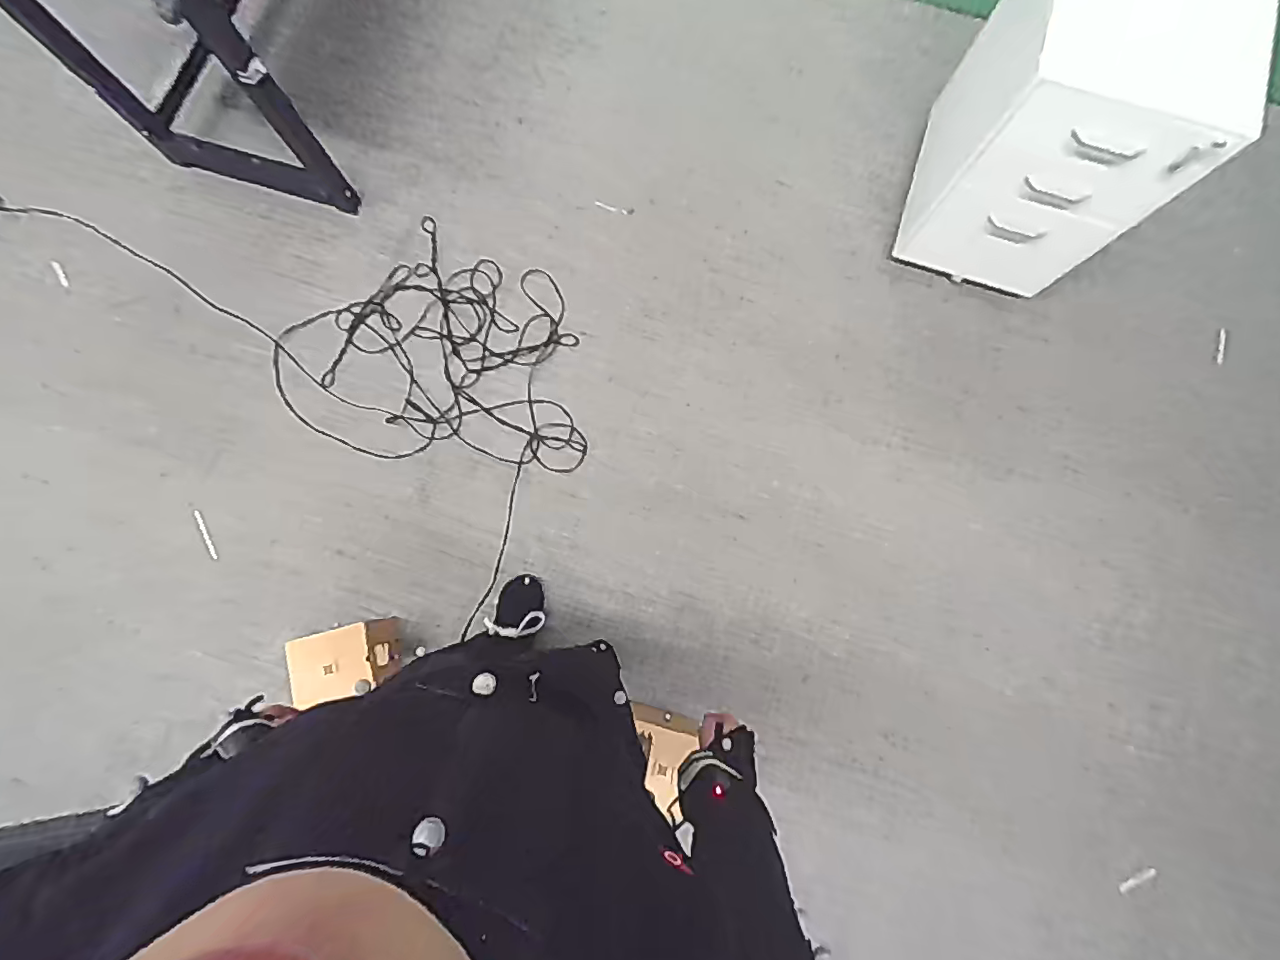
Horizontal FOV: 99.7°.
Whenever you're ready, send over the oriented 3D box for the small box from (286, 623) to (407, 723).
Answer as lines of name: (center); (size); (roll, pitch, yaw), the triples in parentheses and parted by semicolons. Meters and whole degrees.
small box: (-0.664, 0.433, 1.236); (0.179, 0.176, 0.168); (-15, 79, -5)
